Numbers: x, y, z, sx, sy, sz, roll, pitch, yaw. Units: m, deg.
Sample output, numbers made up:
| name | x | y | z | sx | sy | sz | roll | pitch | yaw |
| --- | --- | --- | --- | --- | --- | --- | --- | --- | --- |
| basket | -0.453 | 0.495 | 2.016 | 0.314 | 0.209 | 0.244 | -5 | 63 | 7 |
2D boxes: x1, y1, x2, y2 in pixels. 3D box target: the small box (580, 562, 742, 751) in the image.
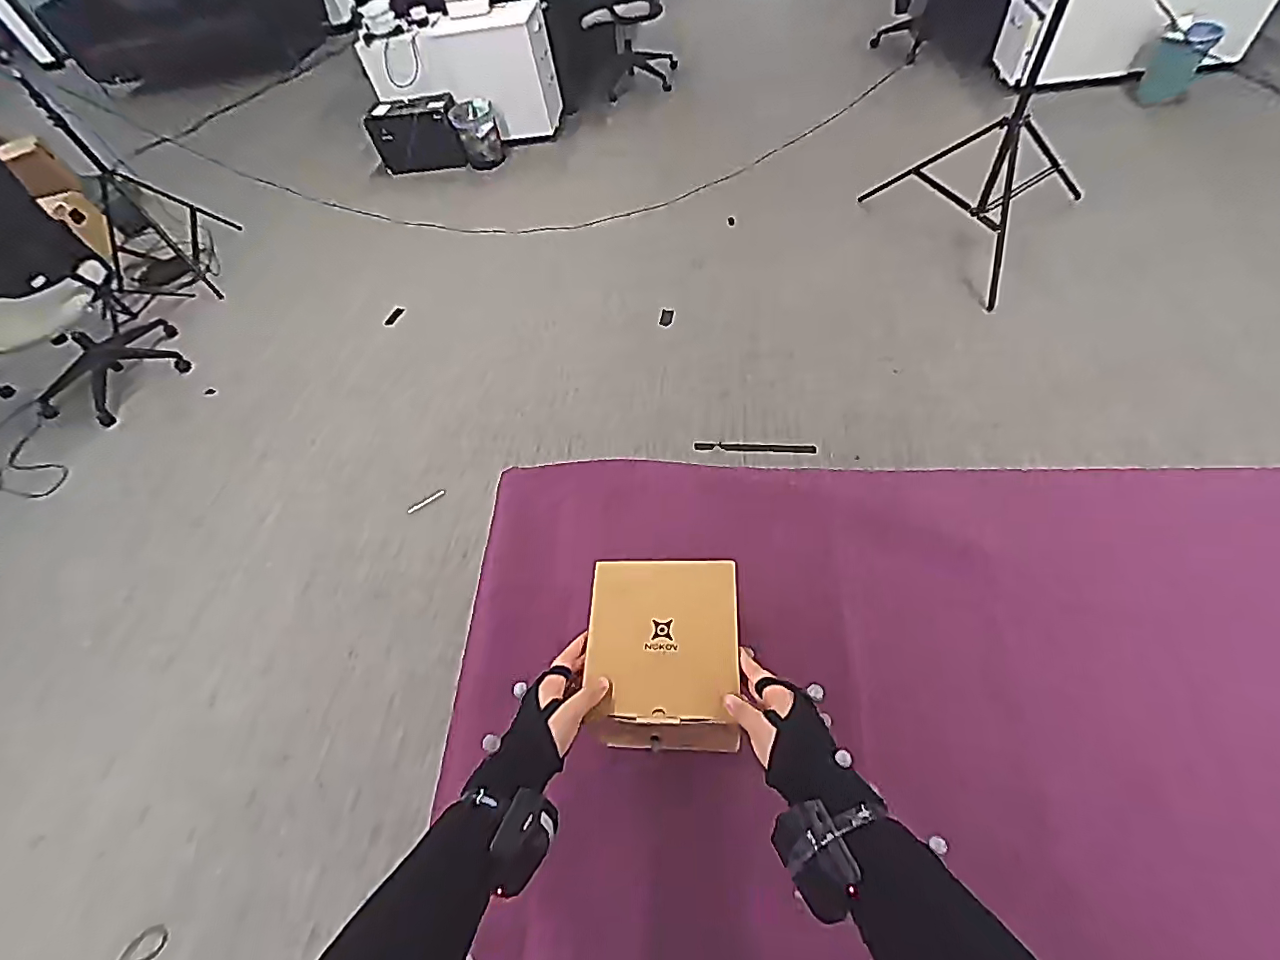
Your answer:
| name | x | y | z | sx | sy | sz | roll | pitch | yaw |
| --- | --- | --- | --- | --- | --- | --- | --- | --- | --- |
| small box | 0.034 | 0.213 | 0.650 | 0.168 | 0.176 | 0.179 | -2 | 56 | 8 |
